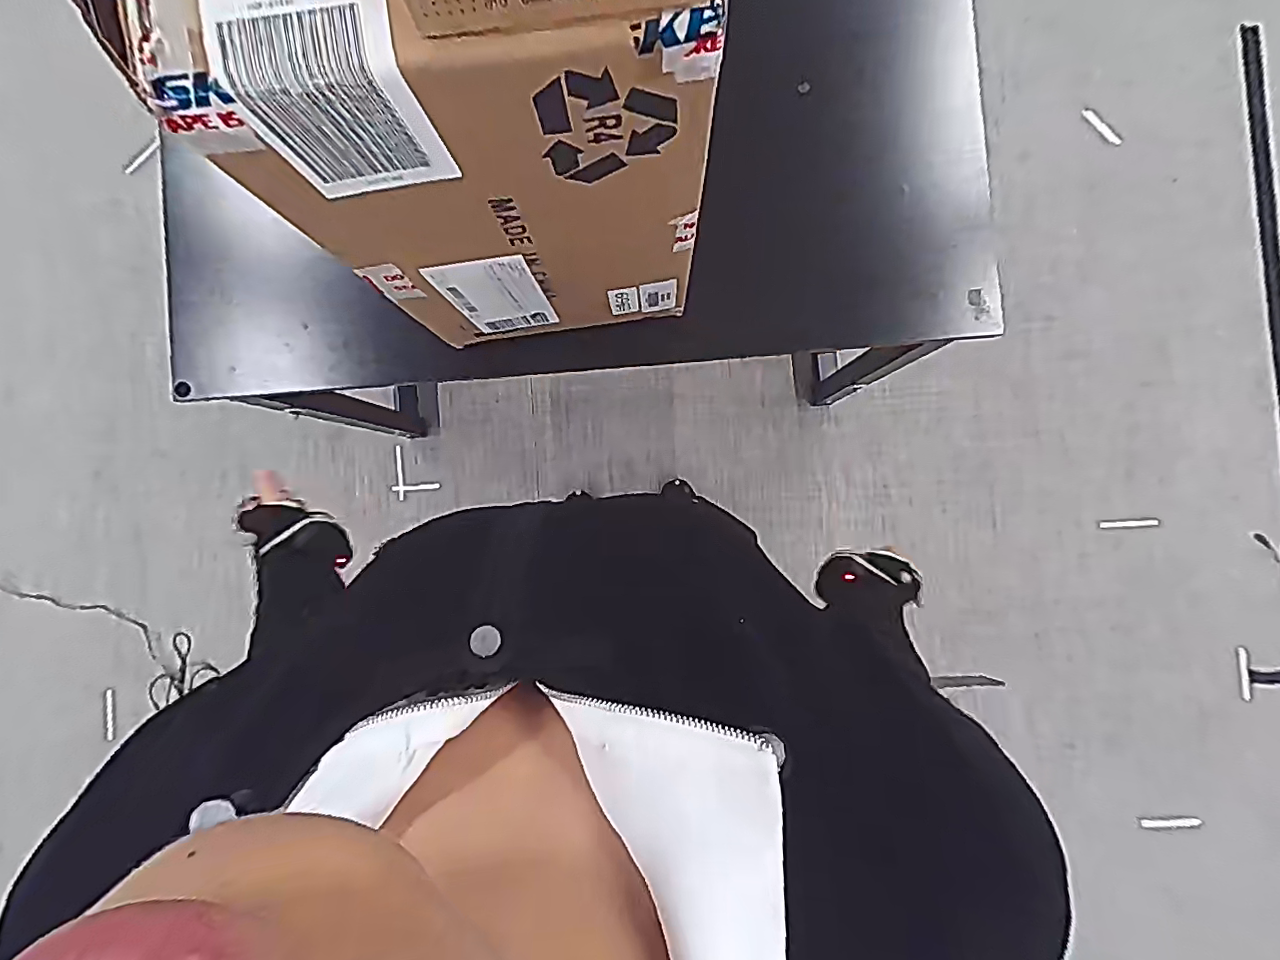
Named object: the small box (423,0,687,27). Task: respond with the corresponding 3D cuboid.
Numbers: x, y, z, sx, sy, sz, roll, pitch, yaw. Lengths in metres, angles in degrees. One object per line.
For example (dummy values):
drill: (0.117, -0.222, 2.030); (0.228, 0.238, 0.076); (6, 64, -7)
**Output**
small box: (-0.049, -0.339, 0.213); (0.168, 0.176, 0.179); (-7, 90, 0)
